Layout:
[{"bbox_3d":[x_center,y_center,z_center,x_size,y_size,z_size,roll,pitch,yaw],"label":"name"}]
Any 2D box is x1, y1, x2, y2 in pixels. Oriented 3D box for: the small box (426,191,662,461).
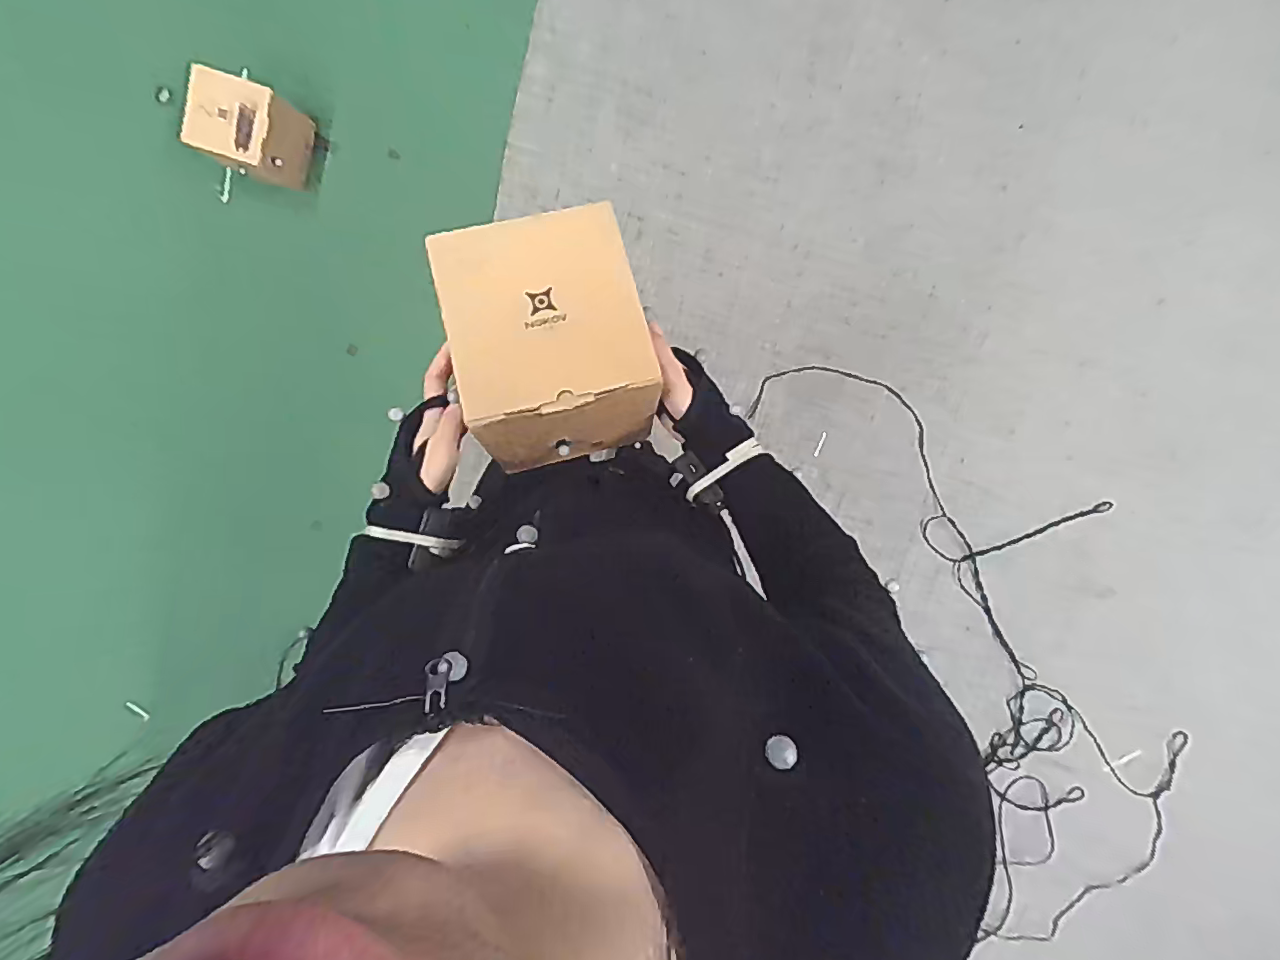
[{"bbox_3d":[-0.087,-0.135,0.523,0.168,0.176,0.179,-14,80,-7],"label":"small box"}]
